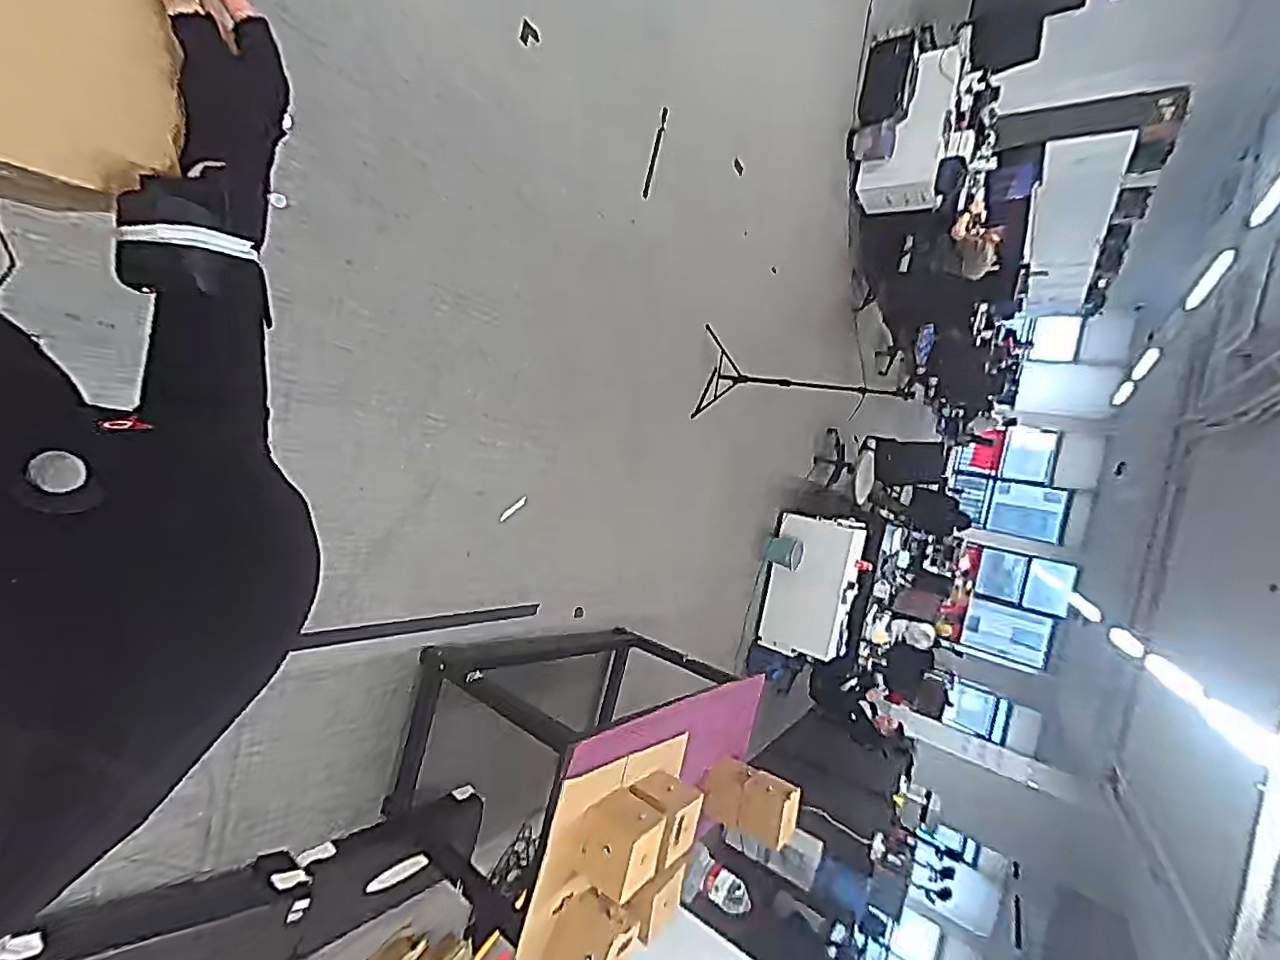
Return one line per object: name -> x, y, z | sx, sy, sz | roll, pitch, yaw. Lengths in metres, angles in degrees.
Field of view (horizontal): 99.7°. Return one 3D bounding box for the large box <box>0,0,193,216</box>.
large box -> -0.550, -0.377, 0.294 | 0.408, 0.320, 0.320 | -3, 108, -59
